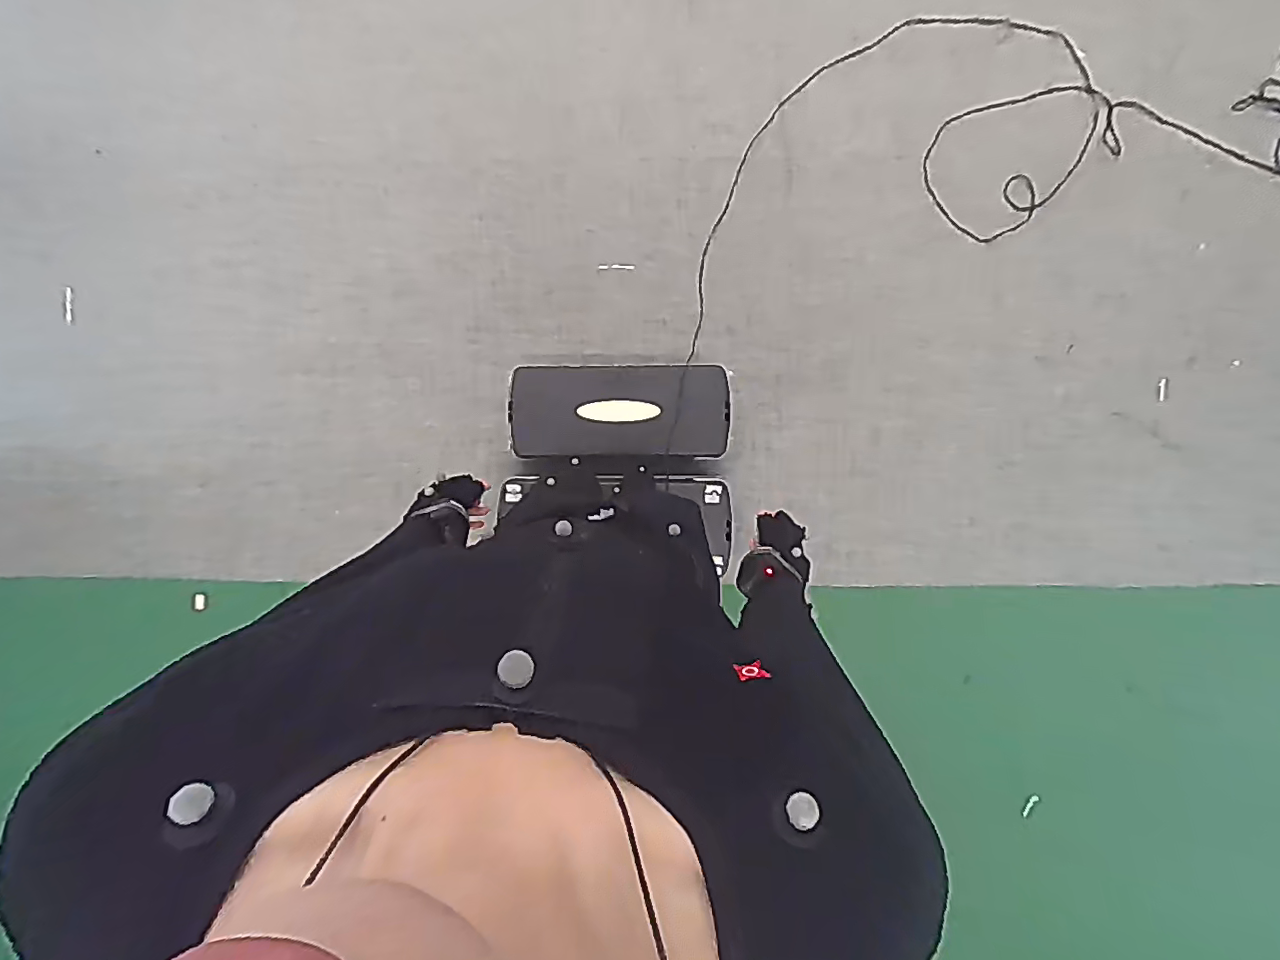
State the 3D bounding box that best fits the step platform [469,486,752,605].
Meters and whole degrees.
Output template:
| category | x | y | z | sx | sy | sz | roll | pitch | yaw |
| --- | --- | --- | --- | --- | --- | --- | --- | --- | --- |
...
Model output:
| category | x | y | z | sx | sy | sz | roll | pitch | yaw |
| --- | --- | --- | --- | --- | --- | --- | --- | --- | --- |
| step platform | -0.071 | 0.159 | 1.390 | 0.684 | 0.204 | 0.286 | 0 | 90 | 0 |
